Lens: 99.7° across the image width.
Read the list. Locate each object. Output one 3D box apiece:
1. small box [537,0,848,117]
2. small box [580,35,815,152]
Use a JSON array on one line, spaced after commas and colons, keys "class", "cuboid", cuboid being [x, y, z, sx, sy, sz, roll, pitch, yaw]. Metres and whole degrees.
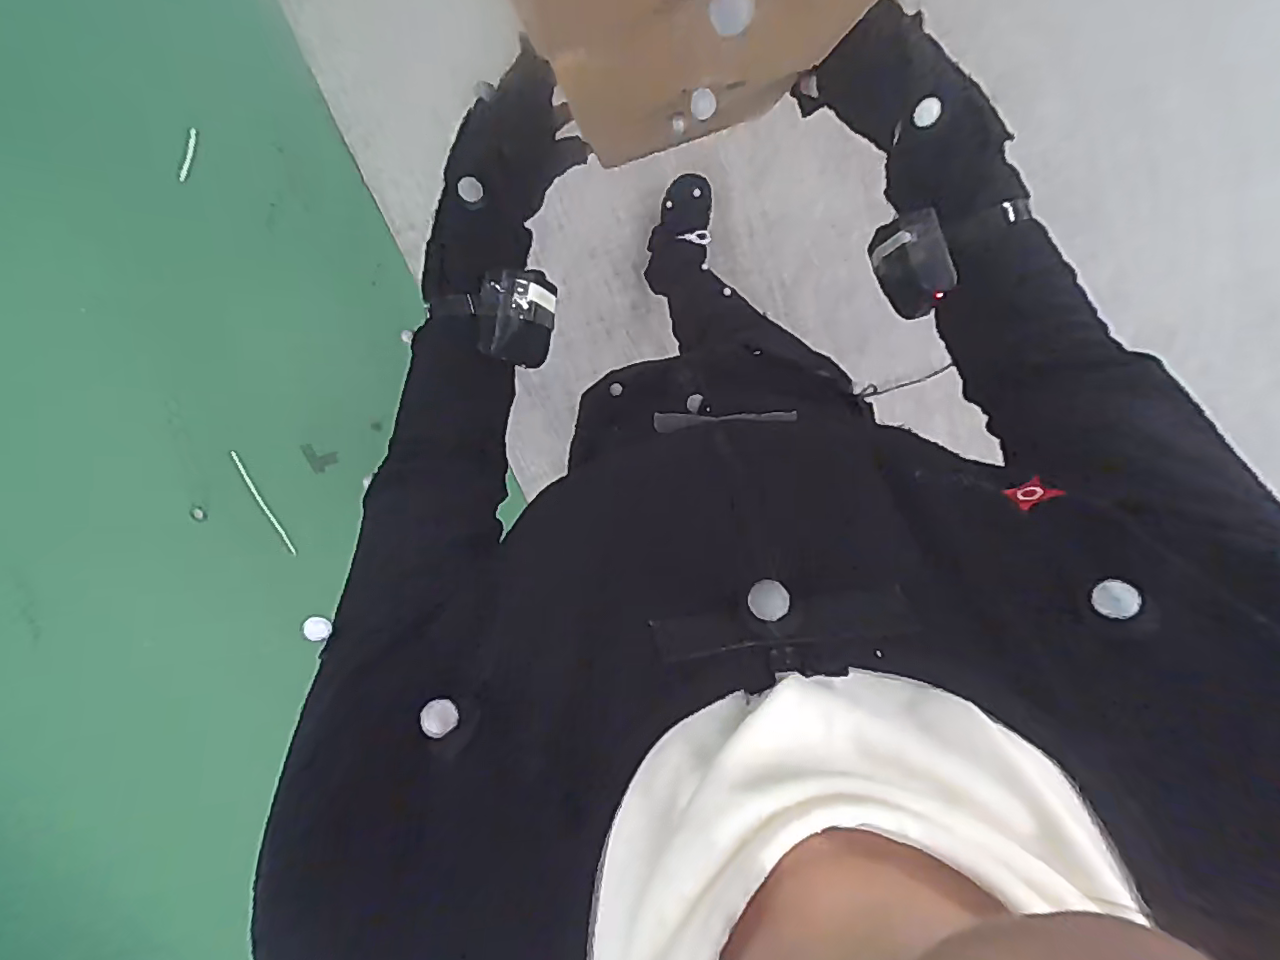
[{"class": "small box", "cuboid": [0.015, -0.312, 0.258, 0.168, 0.176, 0.179, -15, 112, 6]}, {"class": "small box", "cuboid": [0.016, -0.381, 0.409, 0.168, 0.176, 0.179, -15, 112, 7]}]
